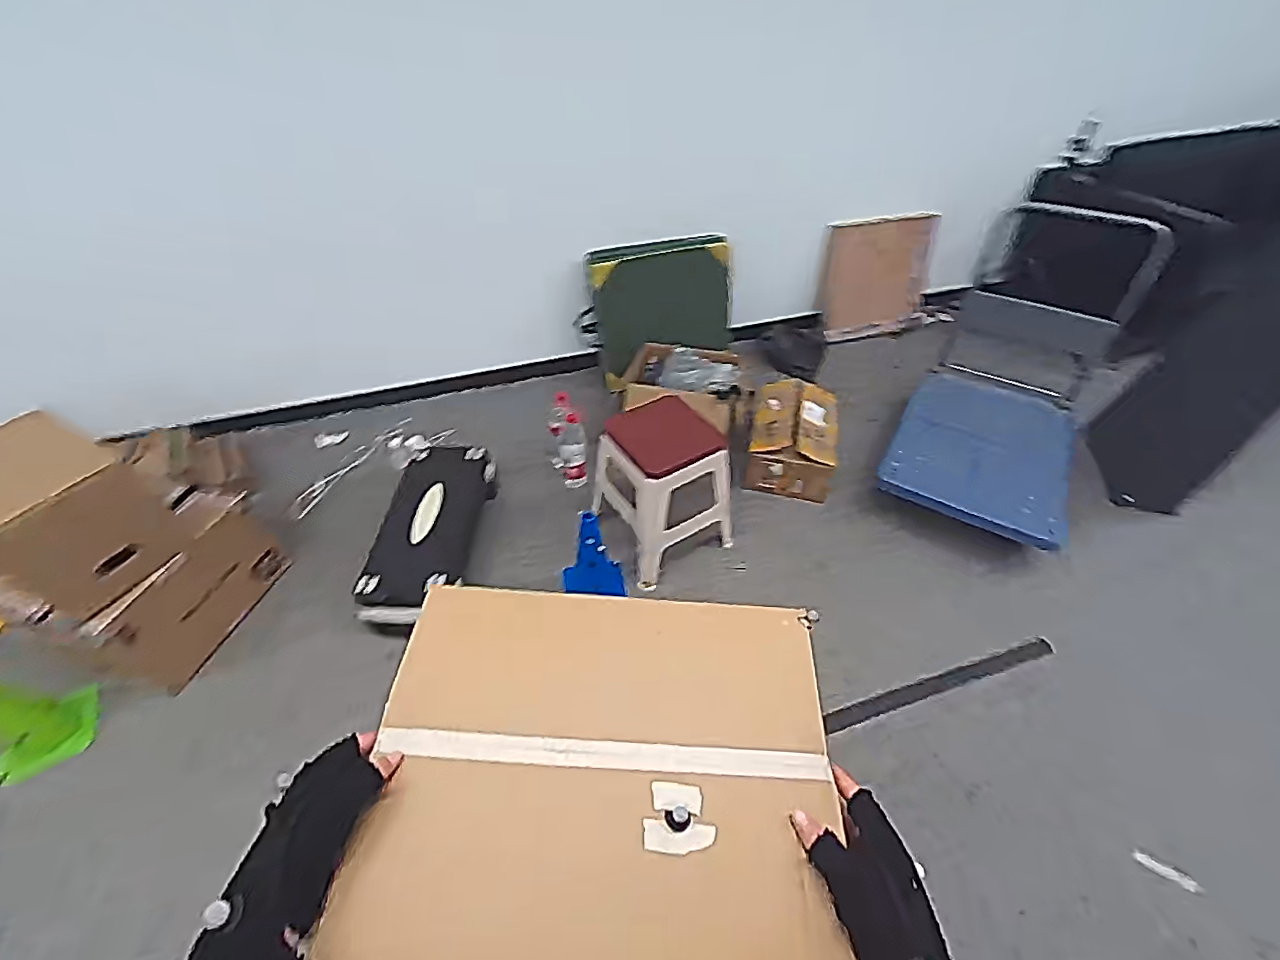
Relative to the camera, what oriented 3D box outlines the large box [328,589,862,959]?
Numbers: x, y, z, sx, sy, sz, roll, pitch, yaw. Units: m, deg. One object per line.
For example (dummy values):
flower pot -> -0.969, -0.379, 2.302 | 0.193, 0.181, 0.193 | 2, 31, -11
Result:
large box -> -0.032, 0.345, 0.602 | 0.408, 0.320, 0.320 | 5, 49, 1
